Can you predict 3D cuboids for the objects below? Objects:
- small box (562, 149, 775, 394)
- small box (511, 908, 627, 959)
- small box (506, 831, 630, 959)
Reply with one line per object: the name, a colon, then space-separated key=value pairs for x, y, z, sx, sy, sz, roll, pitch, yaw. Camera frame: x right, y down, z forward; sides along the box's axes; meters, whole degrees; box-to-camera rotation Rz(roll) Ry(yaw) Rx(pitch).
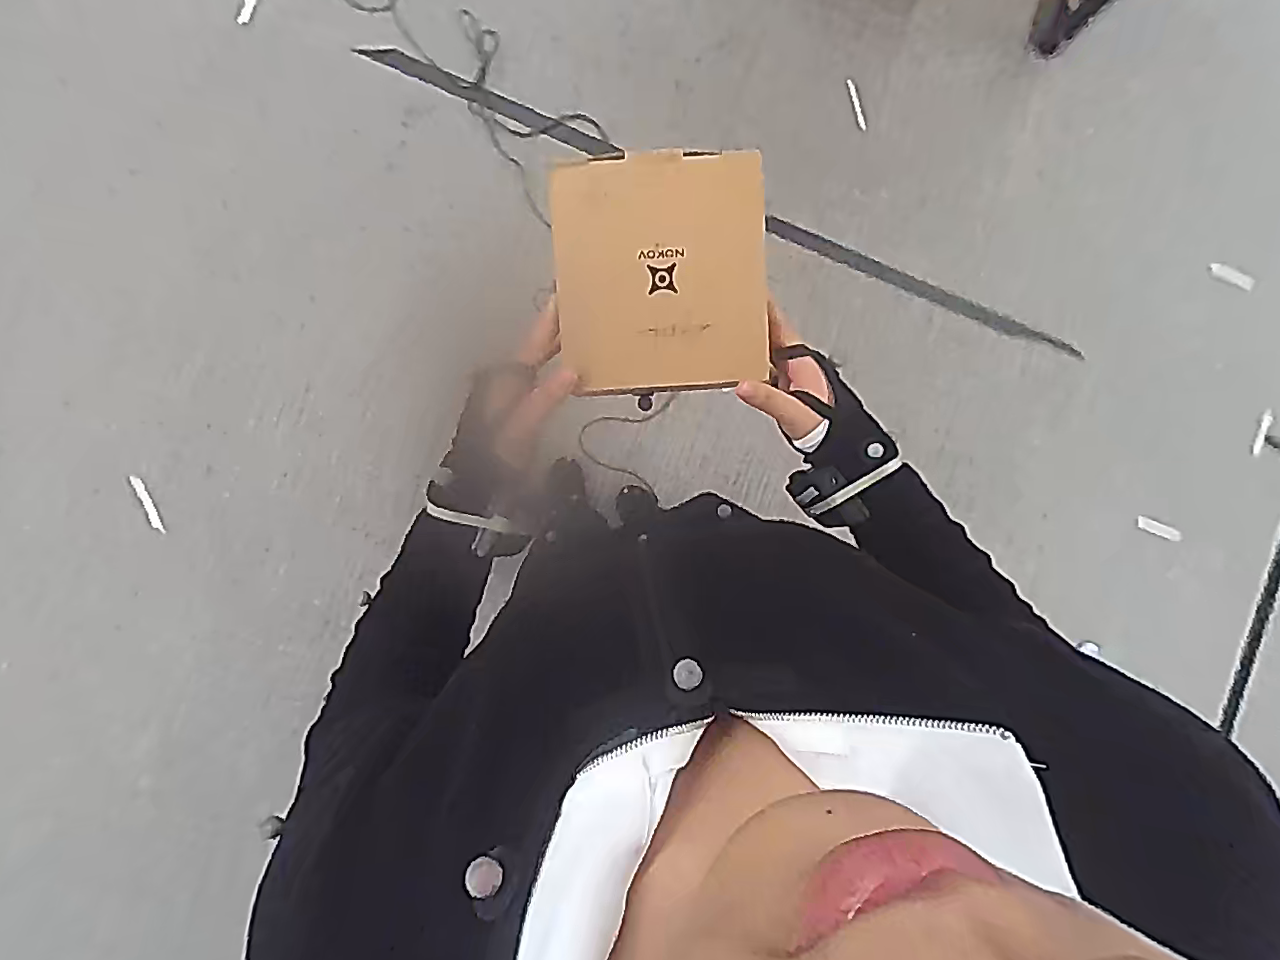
small box: x=0.020 y=-0.173 z=0.499 sx=0.168 sy=0.176 sz=0.179 roll=-3 pitch=98 yaw=-1
small box: x=-0.114 y=0.758 z=0.759 sx=0.168 sy=0.176 sz=0.179 roll=19 pitch=86 yaw=-5
small box: x=-0.123 y=0.751 z=0.923 sx=0.168 sy=0.176 sz=0.179 roll=17 pitch=86 yaw=-6
